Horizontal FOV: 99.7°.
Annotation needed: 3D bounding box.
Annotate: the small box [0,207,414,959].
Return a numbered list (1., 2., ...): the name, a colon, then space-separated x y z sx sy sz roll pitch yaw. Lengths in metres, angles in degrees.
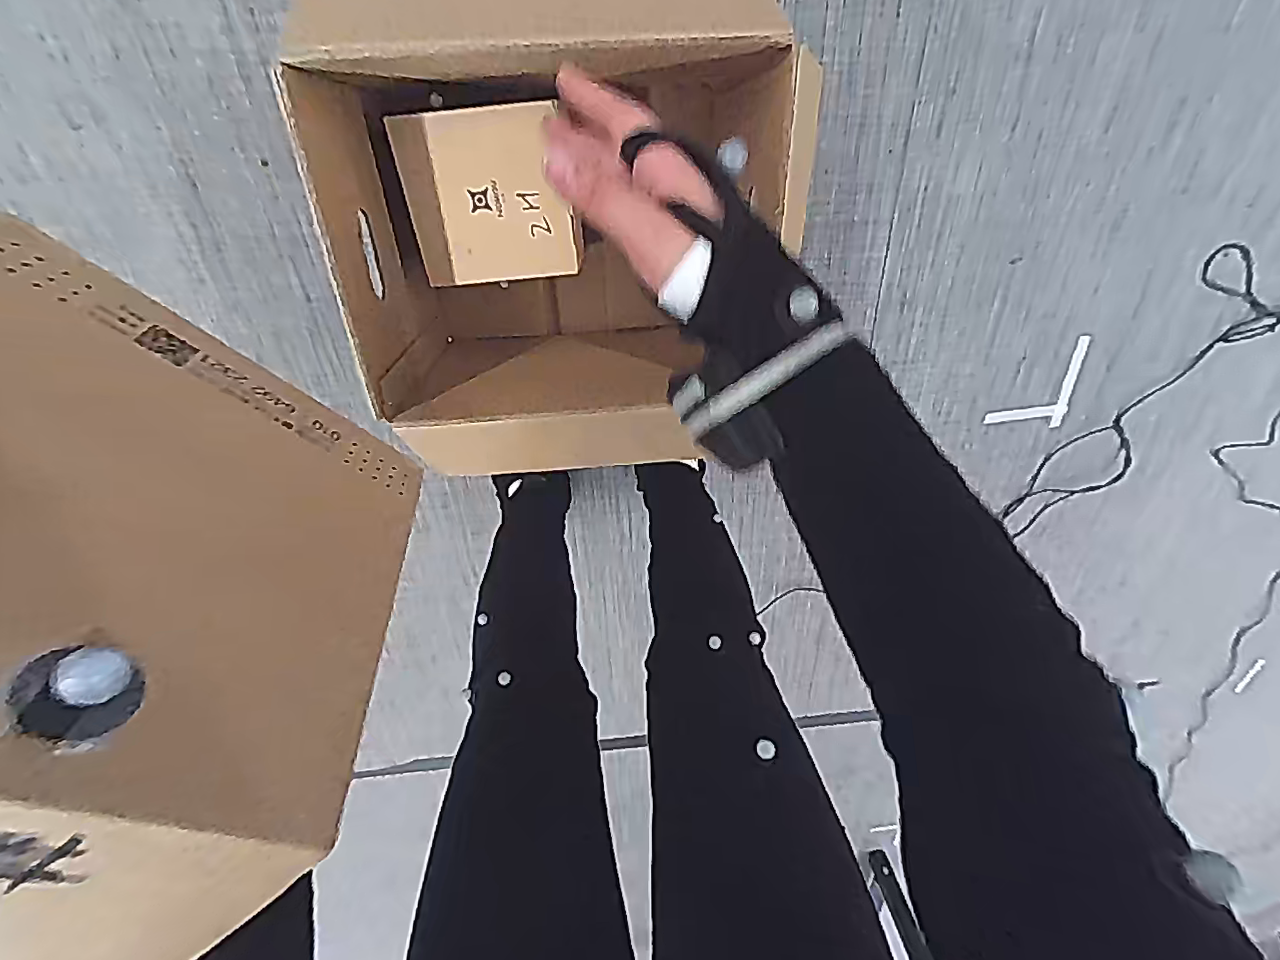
1. small box: -0.199 0.050 0.175 0.179 0.176 0.168 -39 125 17
